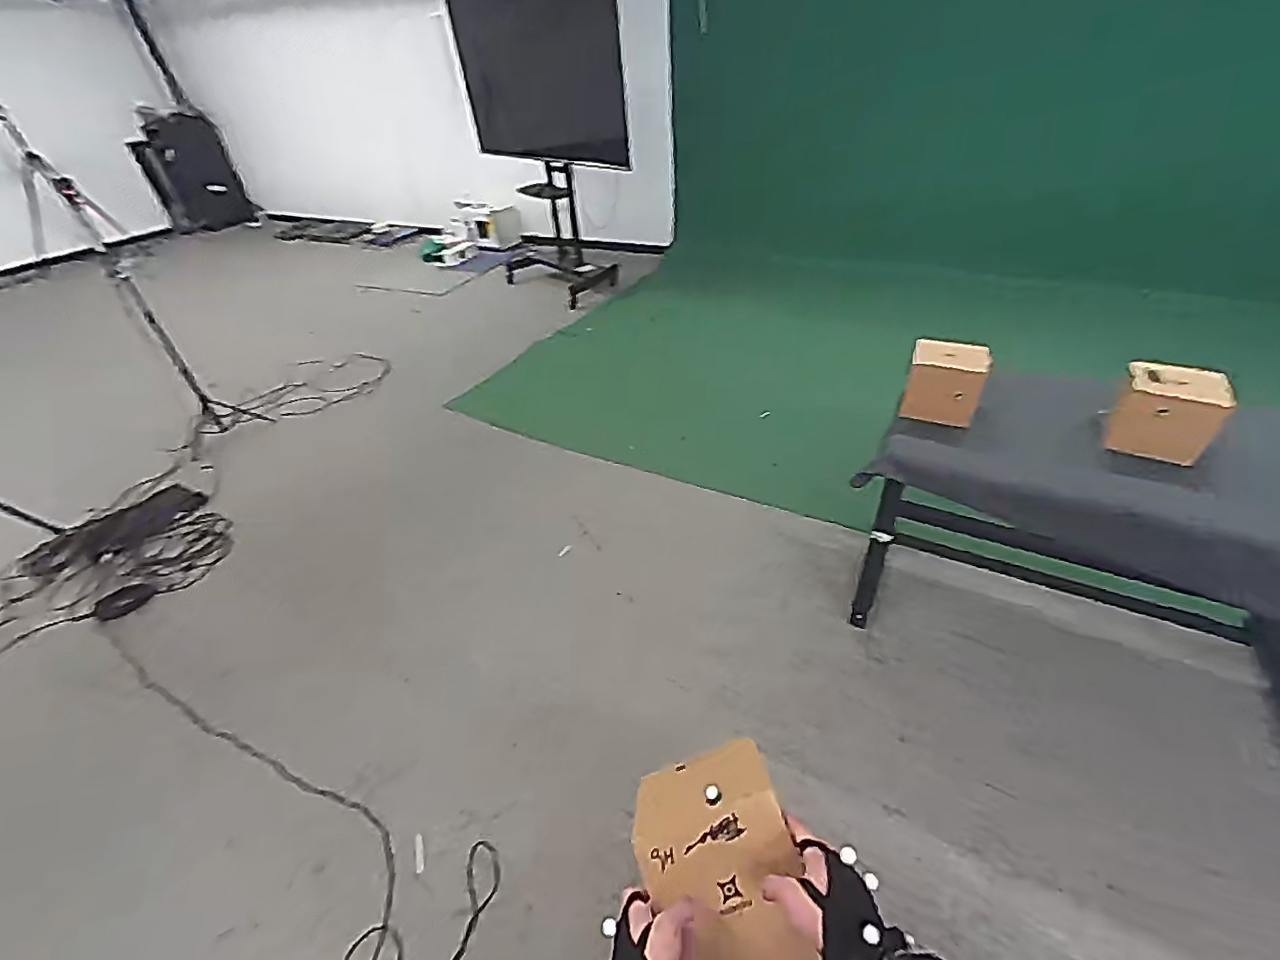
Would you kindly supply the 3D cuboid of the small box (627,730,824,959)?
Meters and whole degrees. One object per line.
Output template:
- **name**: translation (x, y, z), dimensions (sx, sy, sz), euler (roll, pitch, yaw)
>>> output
- **small box**: translation (0.099, 0.447, 0.670), dimensions (0.168, 0.176, 0.179), euler (-24, 82, 2)

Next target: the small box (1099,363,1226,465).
- **small box**: translation (1.262, -0.160, 1.317), dimensions (0.179, 0.176, 0.168), euler (22, 48, 30)

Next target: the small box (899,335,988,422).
- **small box**: translation (0.833, -0.278, 1.488), dimensions (0.179, 0.176, 0.168), euler (14, 42, 23)
